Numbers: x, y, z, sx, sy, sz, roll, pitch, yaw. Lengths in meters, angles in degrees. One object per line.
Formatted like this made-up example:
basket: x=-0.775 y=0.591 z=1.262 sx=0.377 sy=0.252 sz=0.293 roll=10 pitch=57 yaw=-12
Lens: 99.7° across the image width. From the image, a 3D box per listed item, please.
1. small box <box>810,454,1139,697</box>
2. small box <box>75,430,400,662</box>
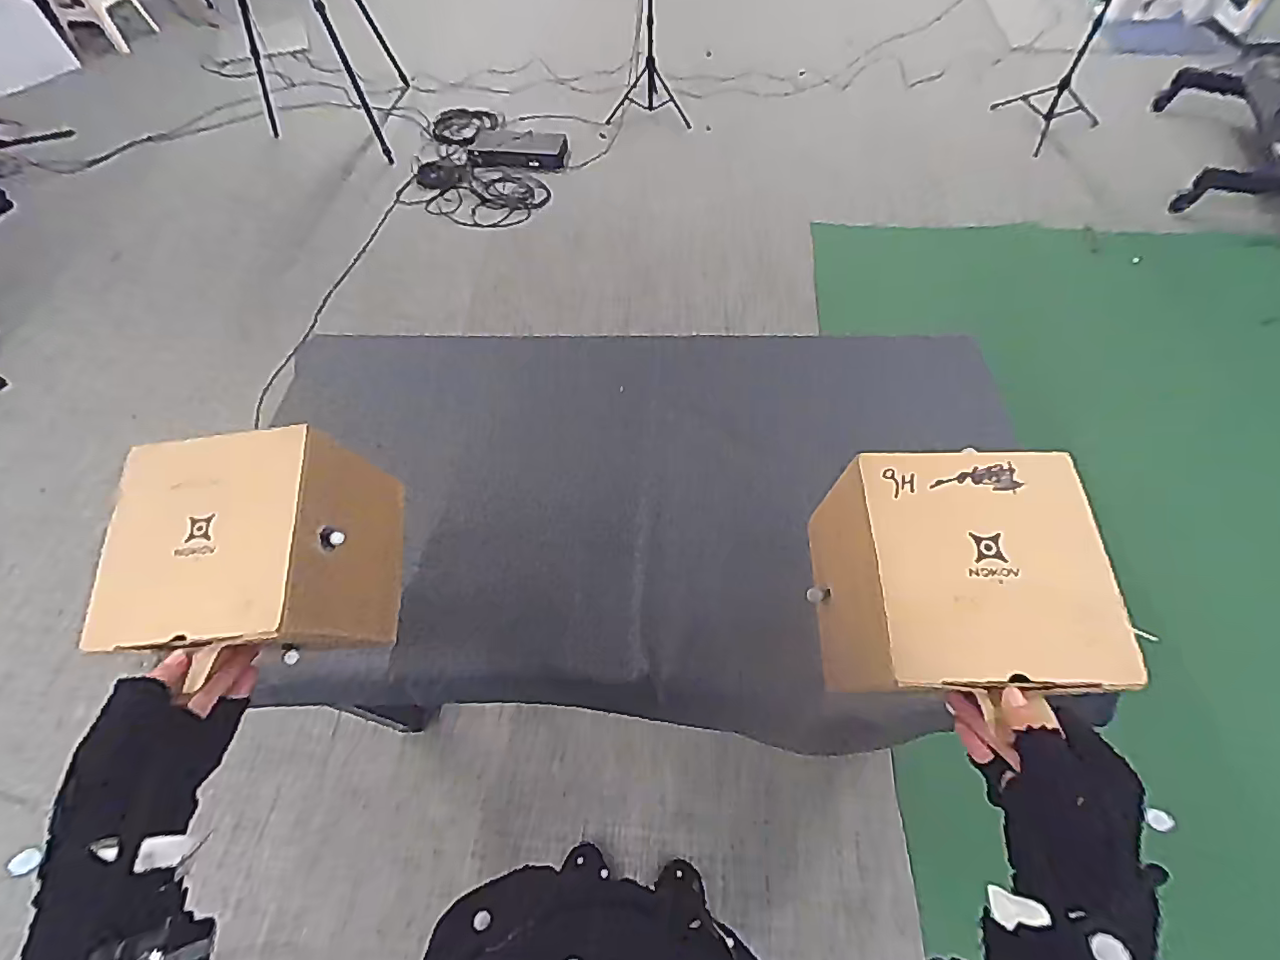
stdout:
small box: x=0.254 y=0.090 z=0.465 sx=0.168 sy=0.176 sz=0.179 roll=0 pitch=68 yaw=2
small box: x=-0.345 y=0.073 z=0.506 sx=0.168 sy=0.176 sz=0.179 roll=-6 pitch=70 yaw=3
